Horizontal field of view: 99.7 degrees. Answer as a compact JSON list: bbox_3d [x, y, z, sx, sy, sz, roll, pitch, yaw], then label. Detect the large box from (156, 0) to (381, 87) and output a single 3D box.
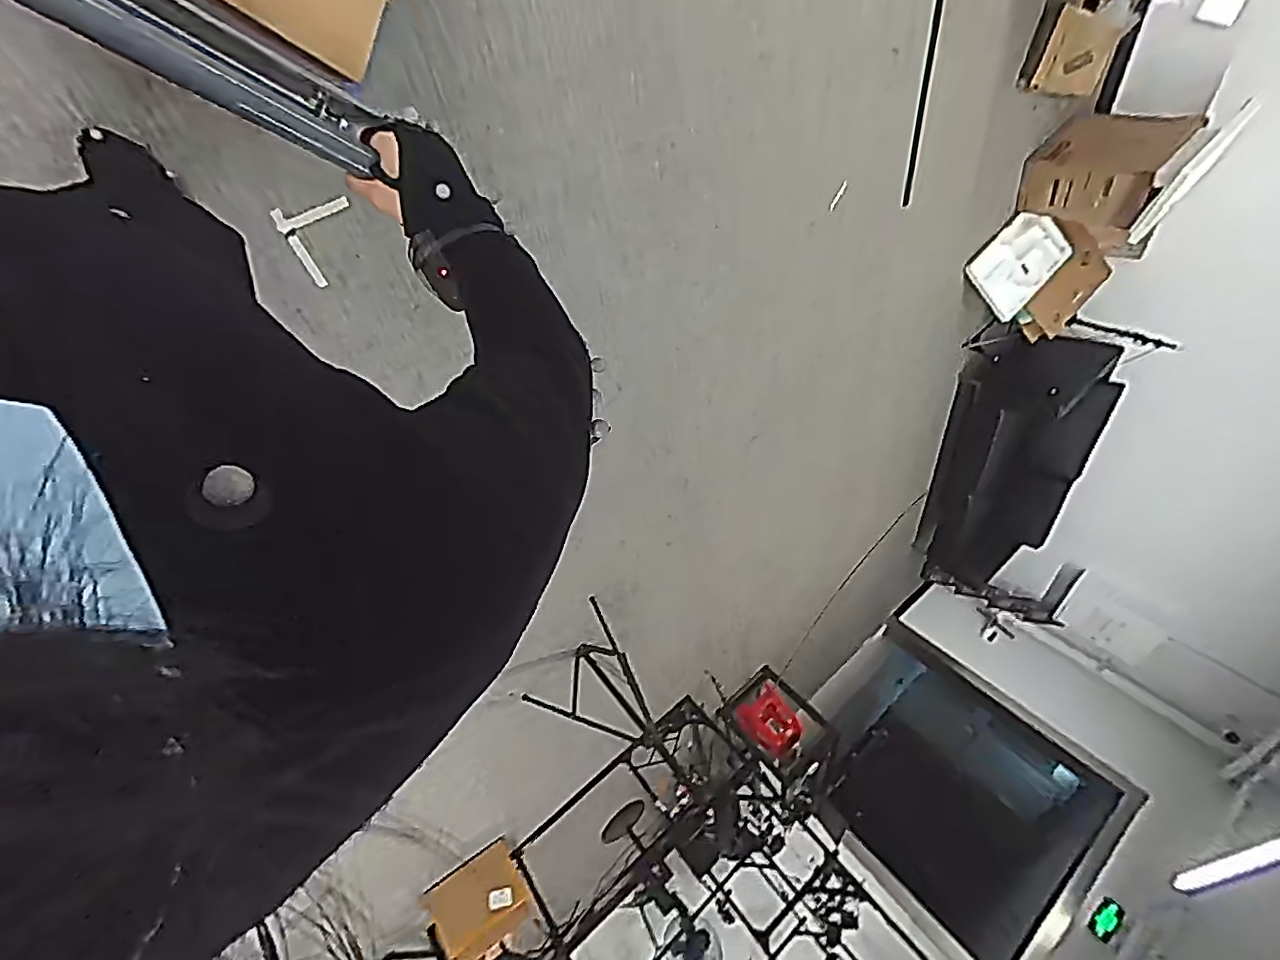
[{"bbox_3d":[-0.561,-0.771,0.666,0.408,0.320,0.320,9,112,-49],"label":"large box"}]
